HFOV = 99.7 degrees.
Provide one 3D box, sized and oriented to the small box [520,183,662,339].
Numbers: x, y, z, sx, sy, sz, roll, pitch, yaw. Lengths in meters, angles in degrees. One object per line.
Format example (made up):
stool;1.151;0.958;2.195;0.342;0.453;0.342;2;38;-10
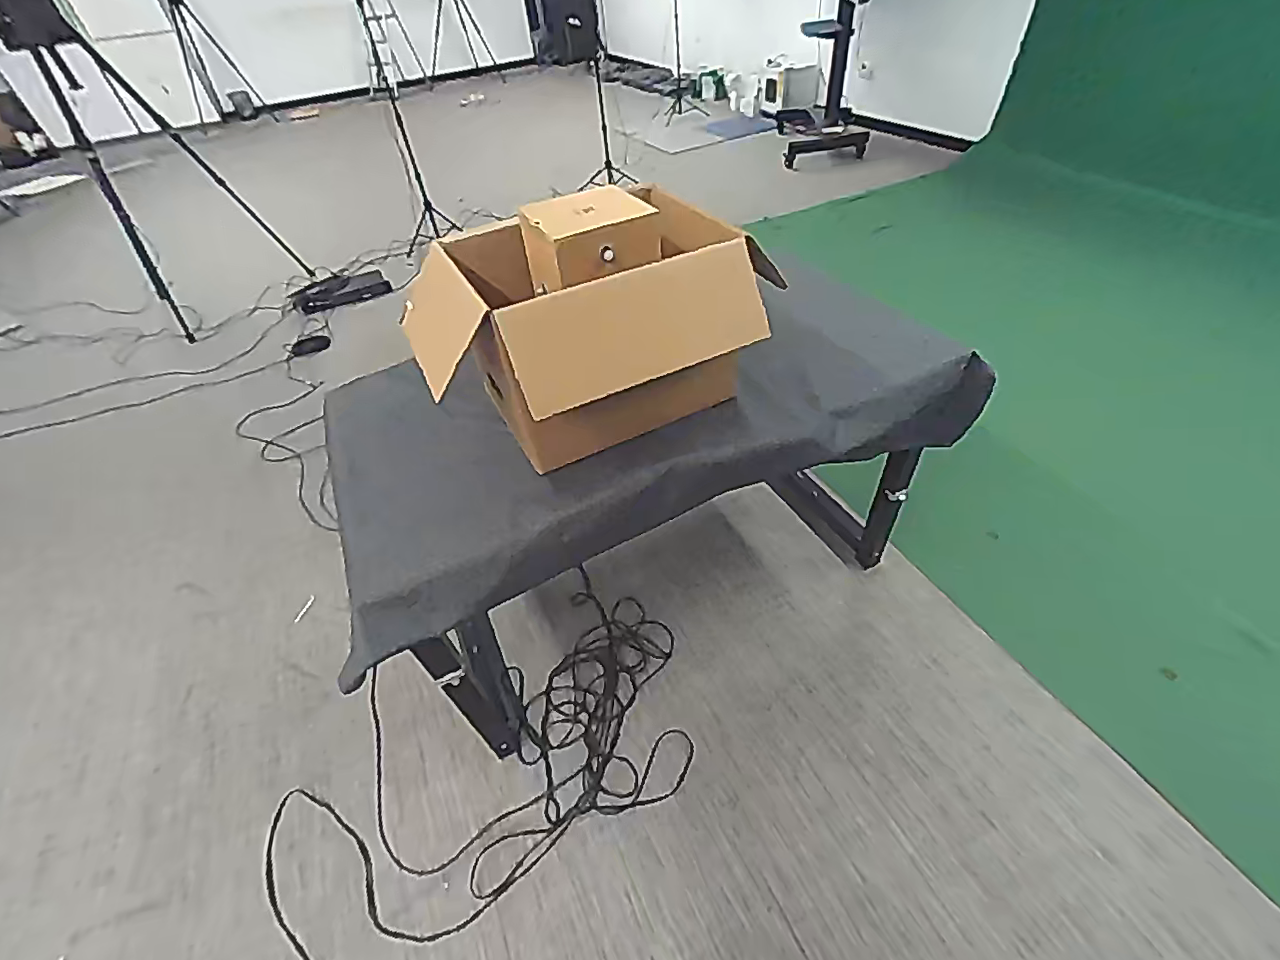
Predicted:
small box;-0.075;-0.360;0.889;0.179;0.176;0.168;-23;47;-16
